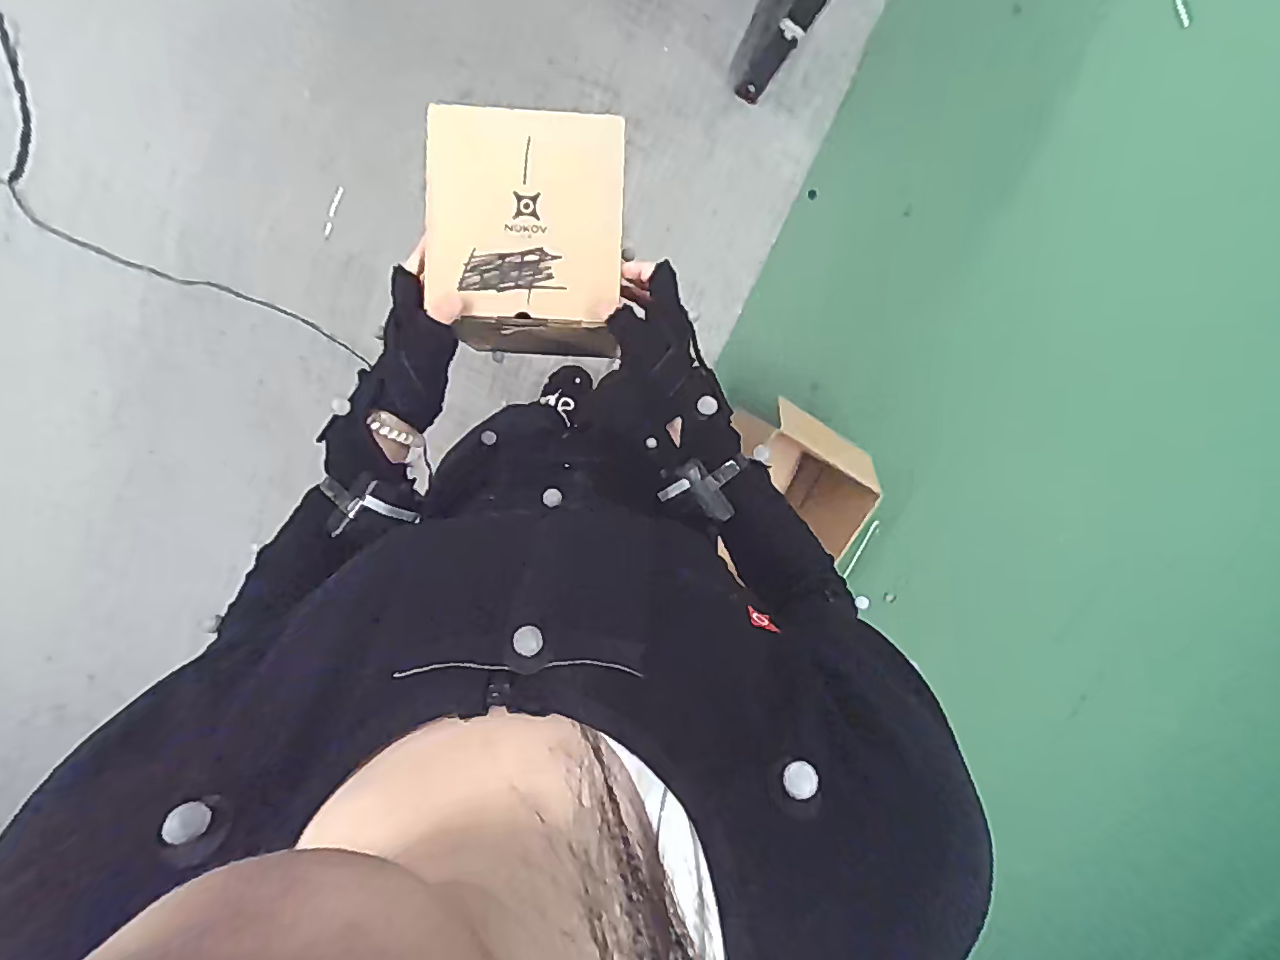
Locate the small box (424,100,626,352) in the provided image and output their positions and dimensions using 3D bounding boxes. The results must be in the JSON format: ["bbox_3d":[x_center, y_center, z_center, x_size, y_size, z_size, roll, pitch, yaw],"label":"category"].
[{"bbox_3d":[-0.098,-0.227,0.529,0.168,0.176,0.179,1,92,-3],"label":"small box"}]
